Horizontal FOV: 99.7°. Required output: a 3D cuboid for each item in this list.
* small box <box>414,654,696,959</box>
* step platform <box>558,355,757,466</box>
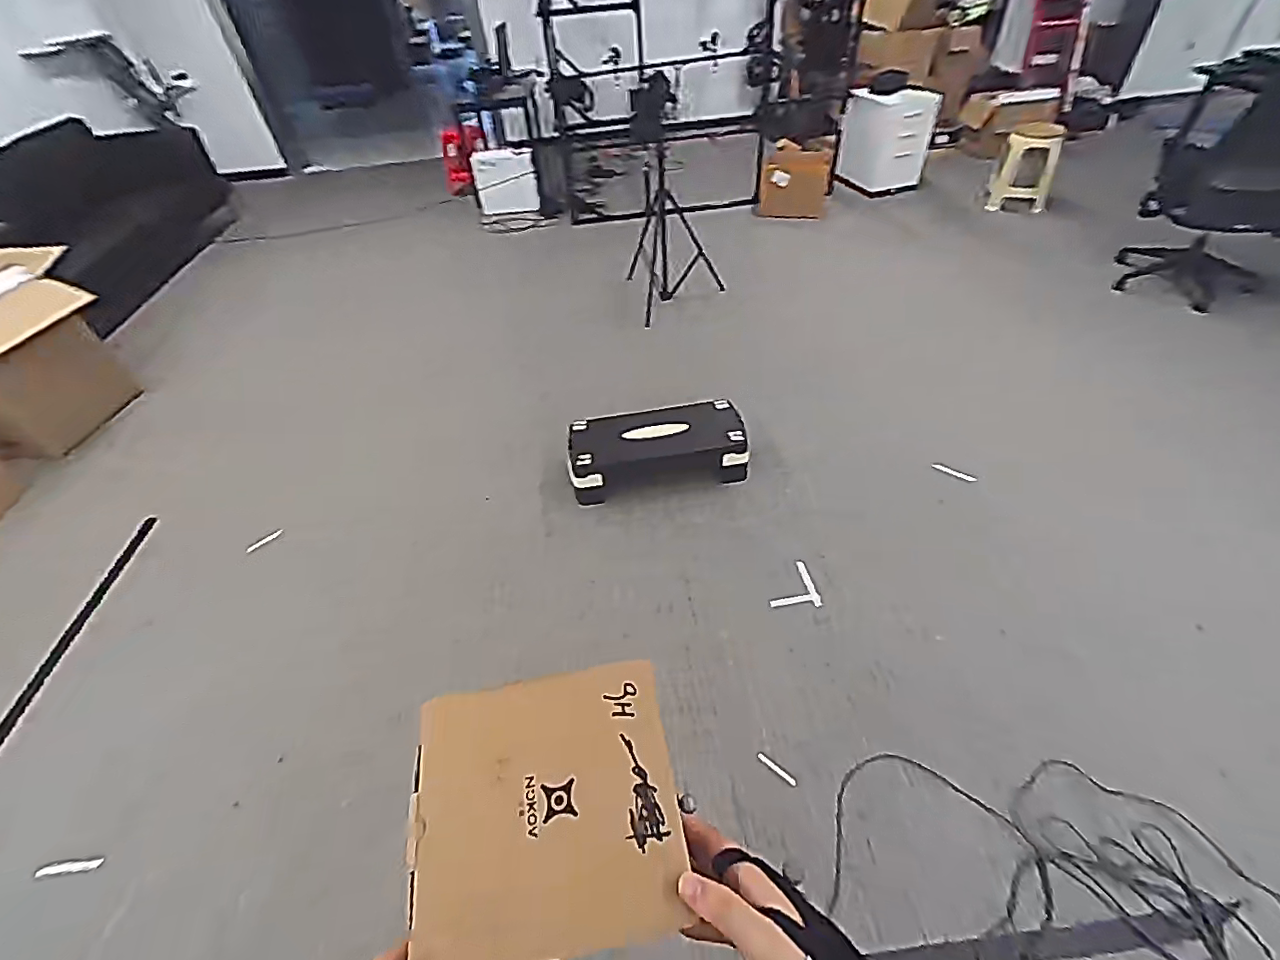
[{"bbox_3d":[-0.060,0.262,0.437,0.179,0.176,0.168,-9,55,-5],"label":"small box"},{"bbox_3d":[0.060,-0.247,1.938,0.684,0.204,0.286,-9,44,-4],"label":"step platform"}]
